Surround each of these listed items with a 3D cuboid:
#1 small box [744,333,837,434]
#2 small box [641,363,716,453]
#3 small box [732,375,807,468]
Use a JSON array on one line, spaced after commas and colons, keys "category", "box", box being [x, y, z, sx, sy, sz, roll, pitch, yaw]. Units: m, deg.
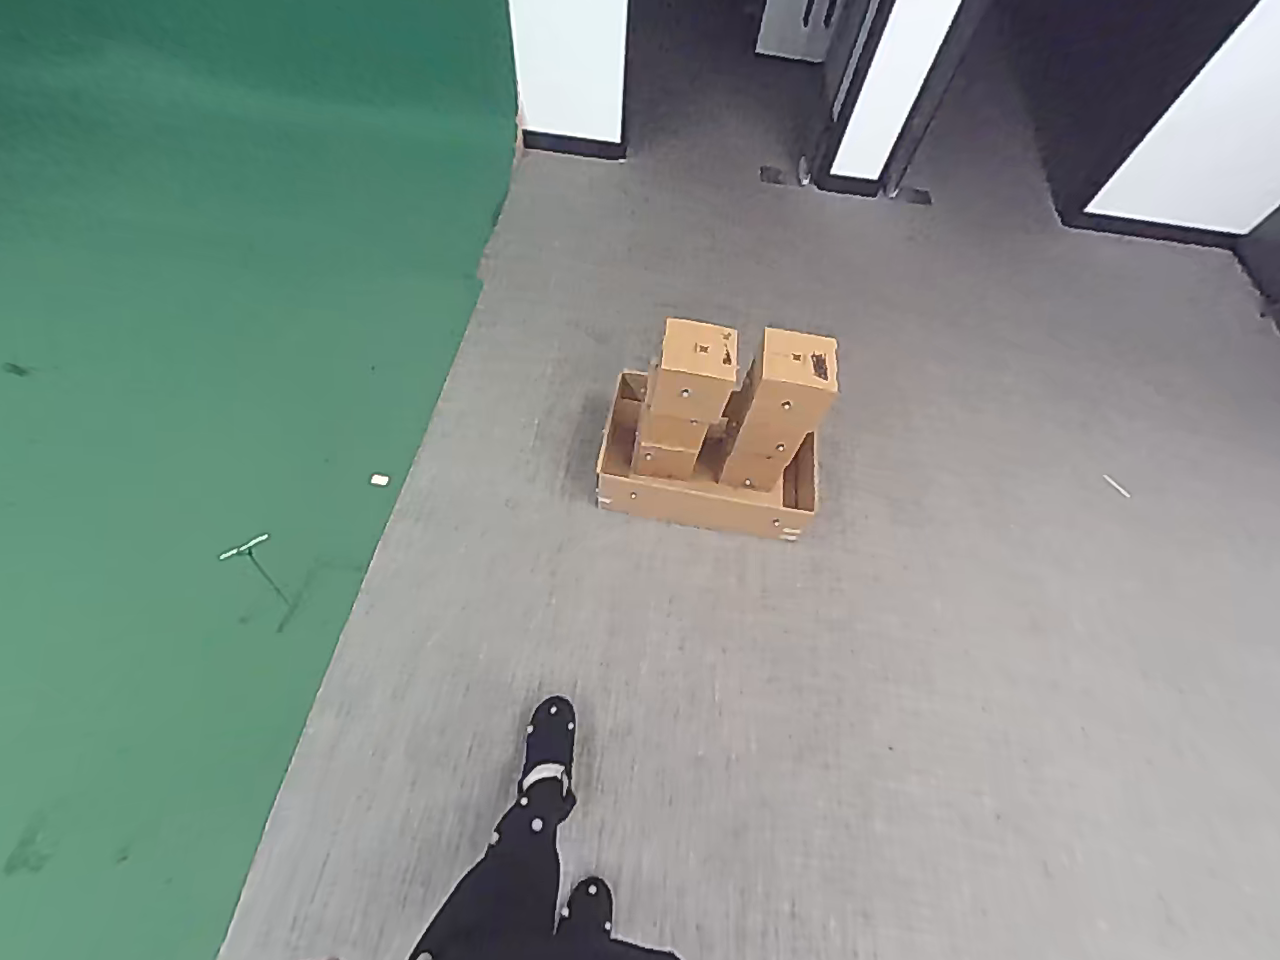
[{"category": "small box", "box": [0.367, -0.232, 1.331, 0.179, 0.176, 0.168, 10, 60, 2]}, {"category": "small box", "box": [0.101, -0.192, 1.476, 0.179, 0.176, 0.168, 9, 60, -2]}, {"category": "small box", "box": [0.351, -0.154, 1.474, 0.168, 0.176, 0.179, 10, 59, 1]}]
